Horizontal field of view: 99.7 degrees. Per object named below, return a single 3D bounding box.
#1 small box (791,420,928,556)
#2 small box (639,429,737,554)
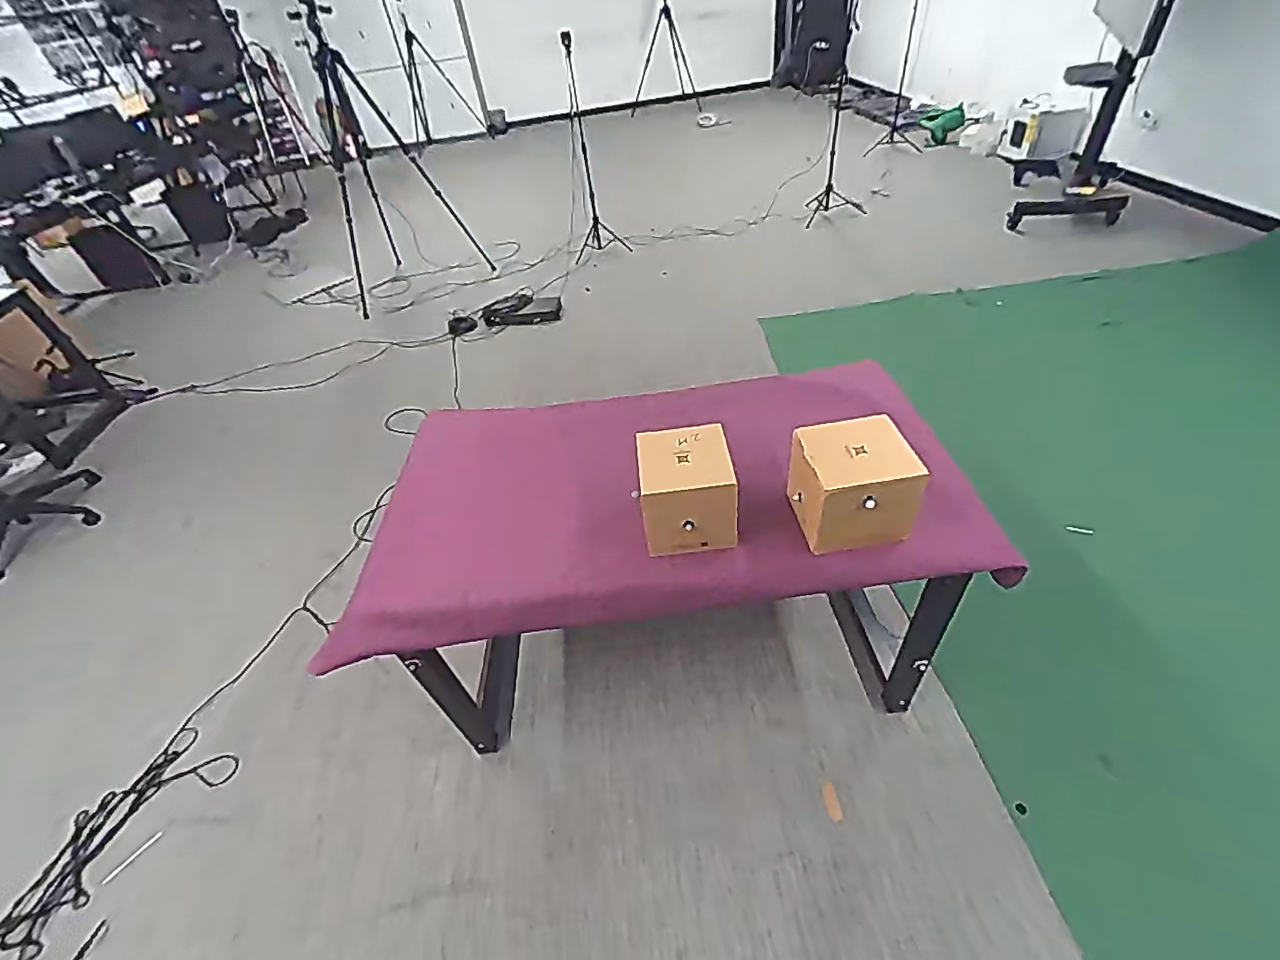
[{"bbox_3d":[0.388,0.017,0.993,0.179,0.176,0.168,-10,43,1],"label":"small box"},{"bbox_3d":[0.091,0.028,1.032,0.168,0.176,0.179,-7,41,3],"label":"small box"}]
